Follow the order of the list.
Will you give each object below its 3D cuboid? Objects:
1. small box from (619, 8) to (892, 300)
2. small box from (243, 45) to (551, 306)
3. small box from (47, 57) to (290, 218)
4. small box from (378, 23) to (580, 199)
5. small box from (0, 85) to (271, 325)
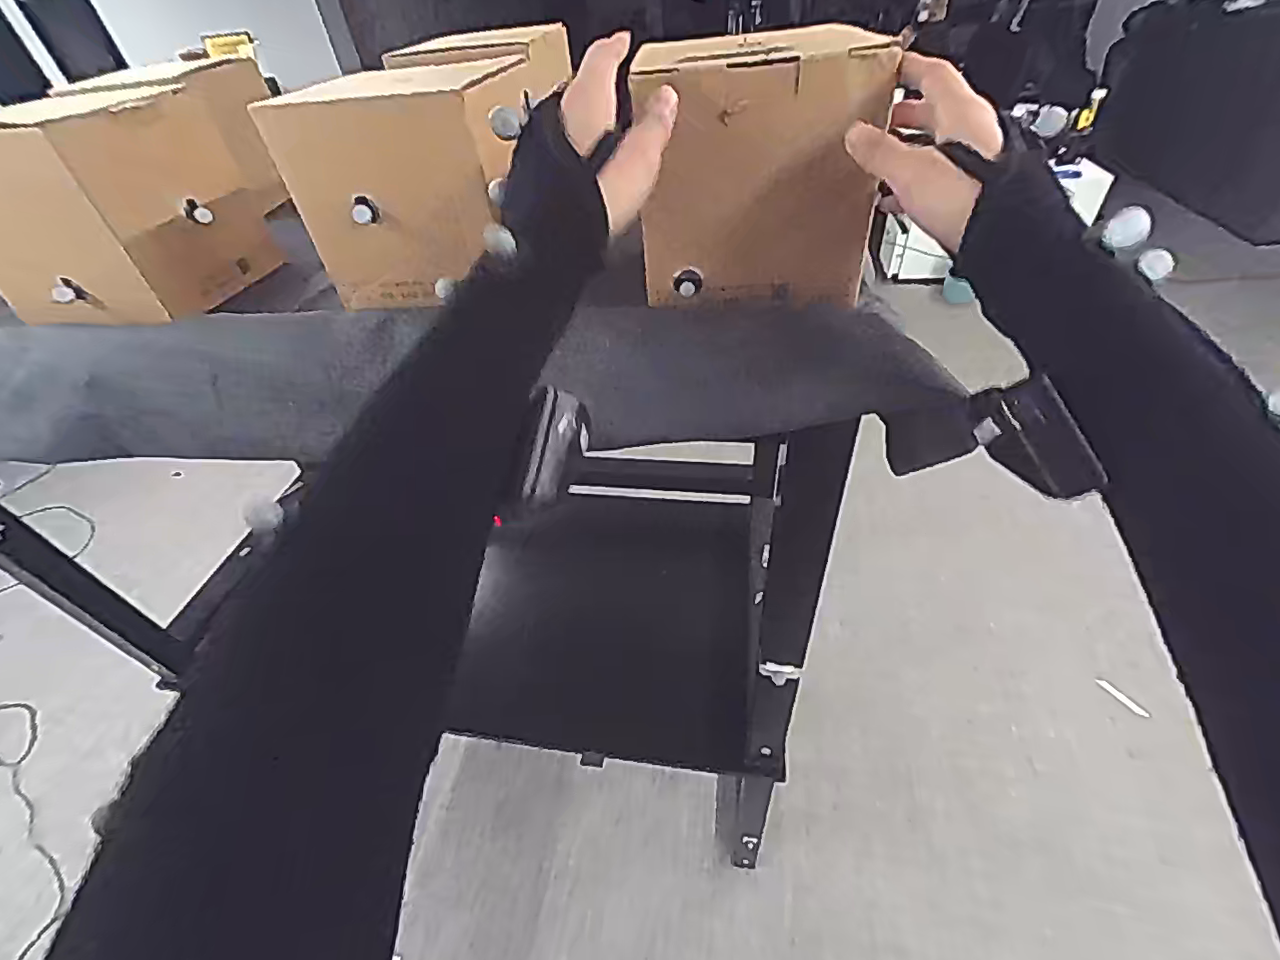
[{"bbox_3d":[0.081,-0.255,0.436,0.168,0.176,0.179,-2,42,6],"label":"small box"},{"bbox_3d":[-0.188,-0.268,0.488,0.168,0.176,0.179,1,43,8],"label":"small box"},{"bbox_3d":[-0.620,-0.468,0.753,0.168,0.176,0.179,-3,43,5],"label":"small box"},{"bbox_3d":[-0.190,-0.467,0.698,0.179,0.176,0.168,2,45,10],"label":"small box"},{"bbox_3d":[-0.511,-0.260,0.518,0.179,0.176,0.168,2,43,8],"label":"small box"}]
